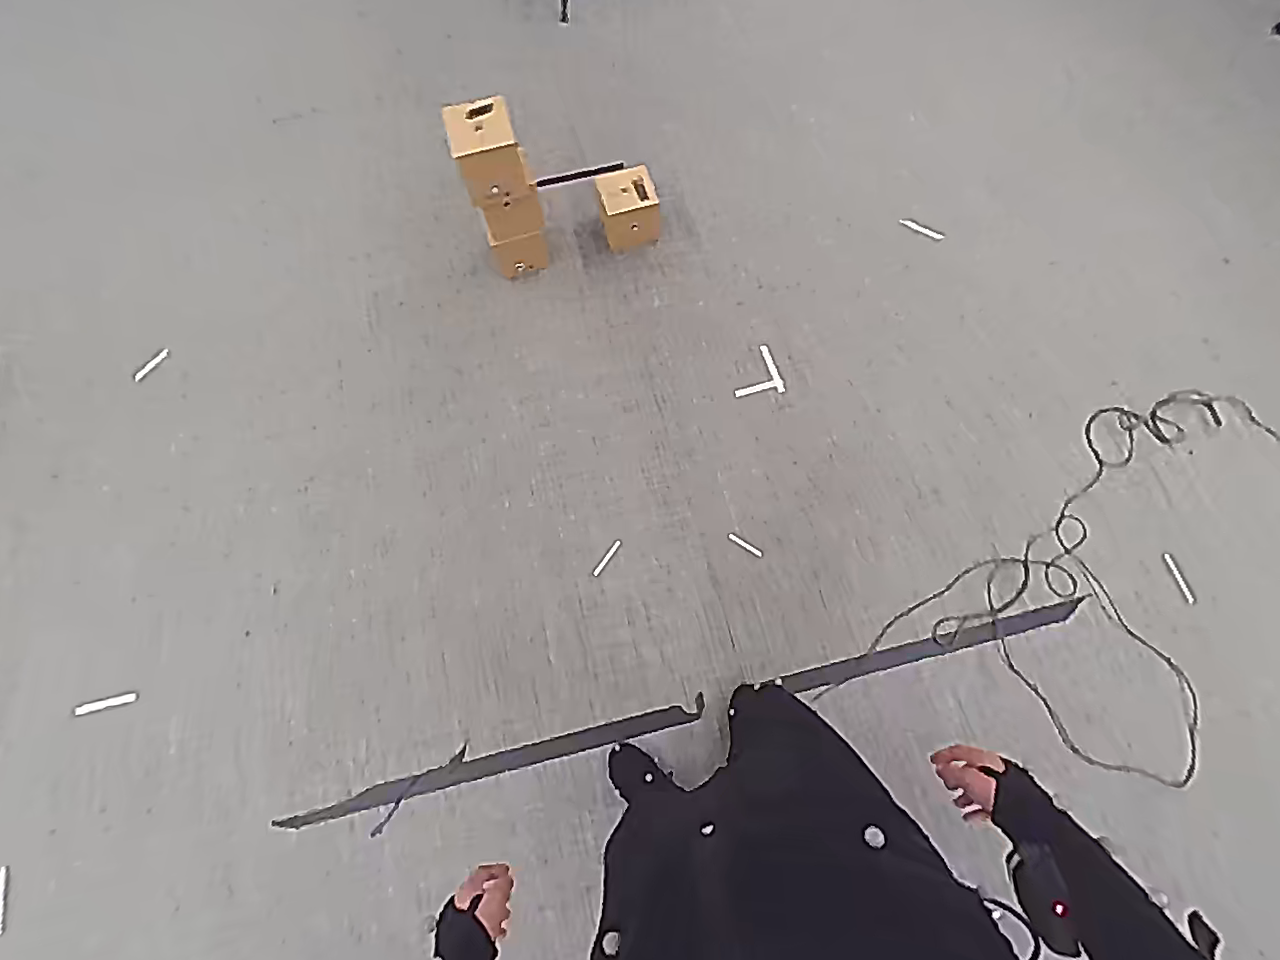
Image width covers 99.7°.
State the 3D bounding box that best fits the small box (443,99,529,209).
[{"bbox_3d":[-0.414,-0.877,1.466,0.168,0.176,0.179,-16,73,-3],"label":"small box"}]

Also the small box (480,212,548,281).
[{"bbox_3d":[-0.413,-0.796,1.784,0.168,0.176,0.179,-18,73,-5],"label":"small box"}]

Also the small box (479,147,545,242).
[{"bbox_3d":[-0.403,-0.853,1.630,0.179,0.176,0.168,-19,73,-5],"label":"small box"}]
